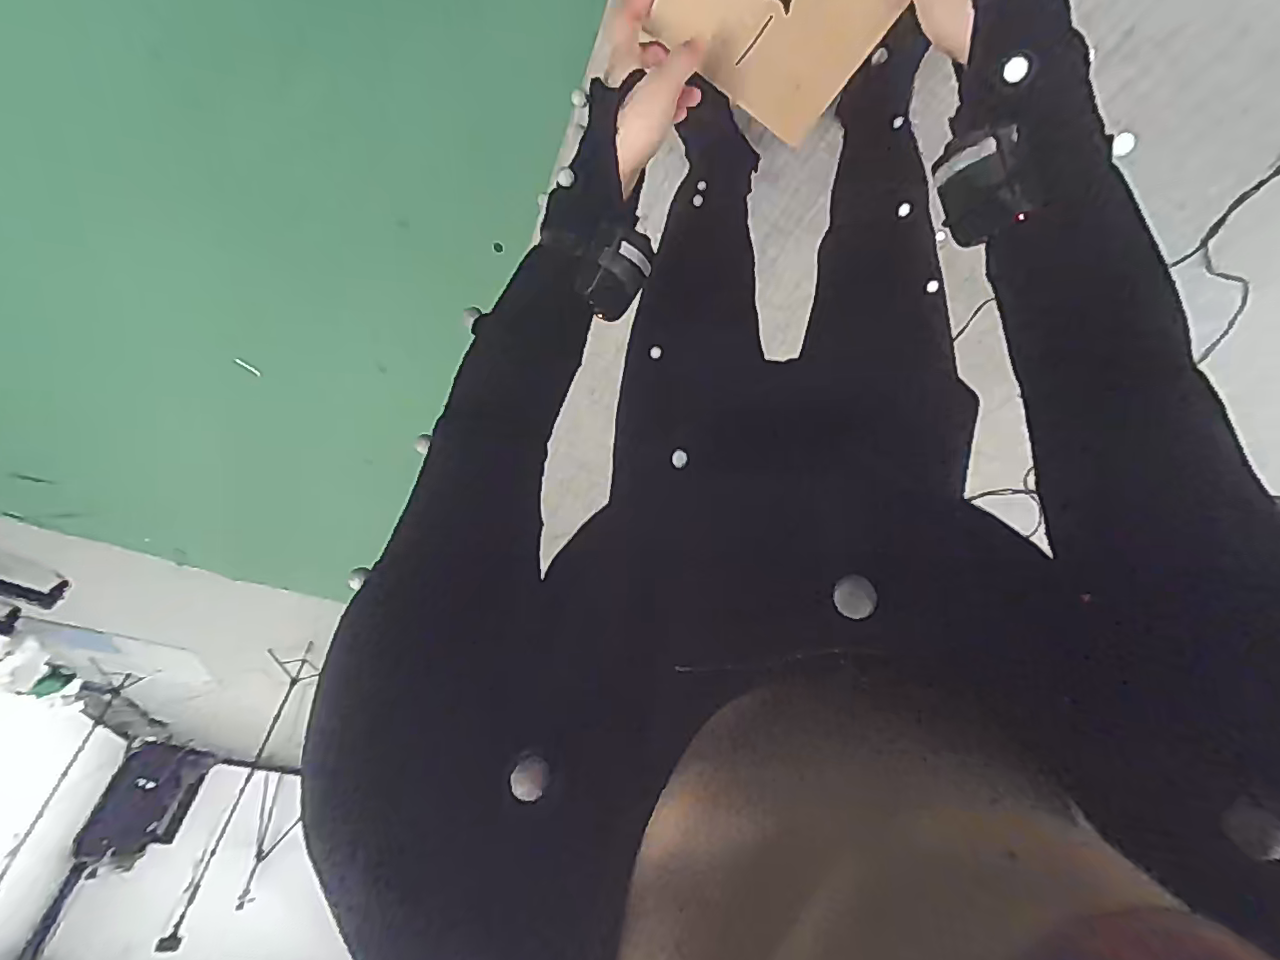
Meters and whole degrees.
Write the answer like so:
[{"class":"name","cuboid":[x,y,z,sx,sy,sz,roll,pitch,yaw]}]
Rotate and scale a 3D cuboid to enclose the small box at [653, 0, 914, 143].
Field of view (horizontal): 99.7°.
[{"class":"small box","cuboid":[0.122,-0.435,0.442,0.168,0.176,0.179,22,138,-23]}]
